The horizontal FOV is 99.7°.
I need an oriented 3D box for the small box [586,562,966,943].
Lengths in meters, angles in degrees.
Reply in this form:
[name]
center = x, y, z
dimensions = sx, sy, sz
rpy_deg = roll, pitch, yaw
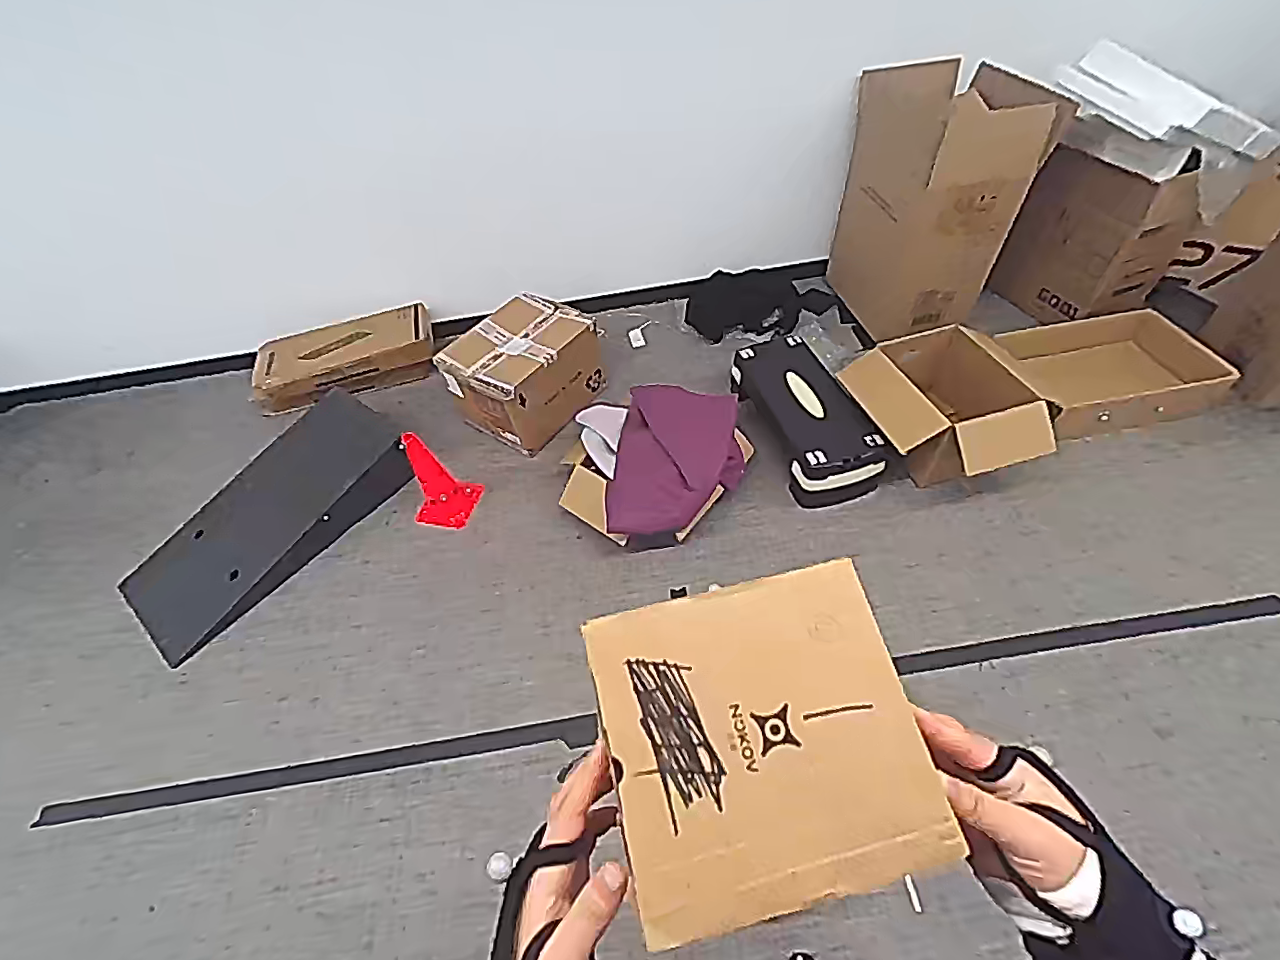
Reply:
[small box]
center = 0.072, 0.174, 0.378
dimensions = 0.179, 0.176, 0.168
rpy_deg = -13, 67, -3
